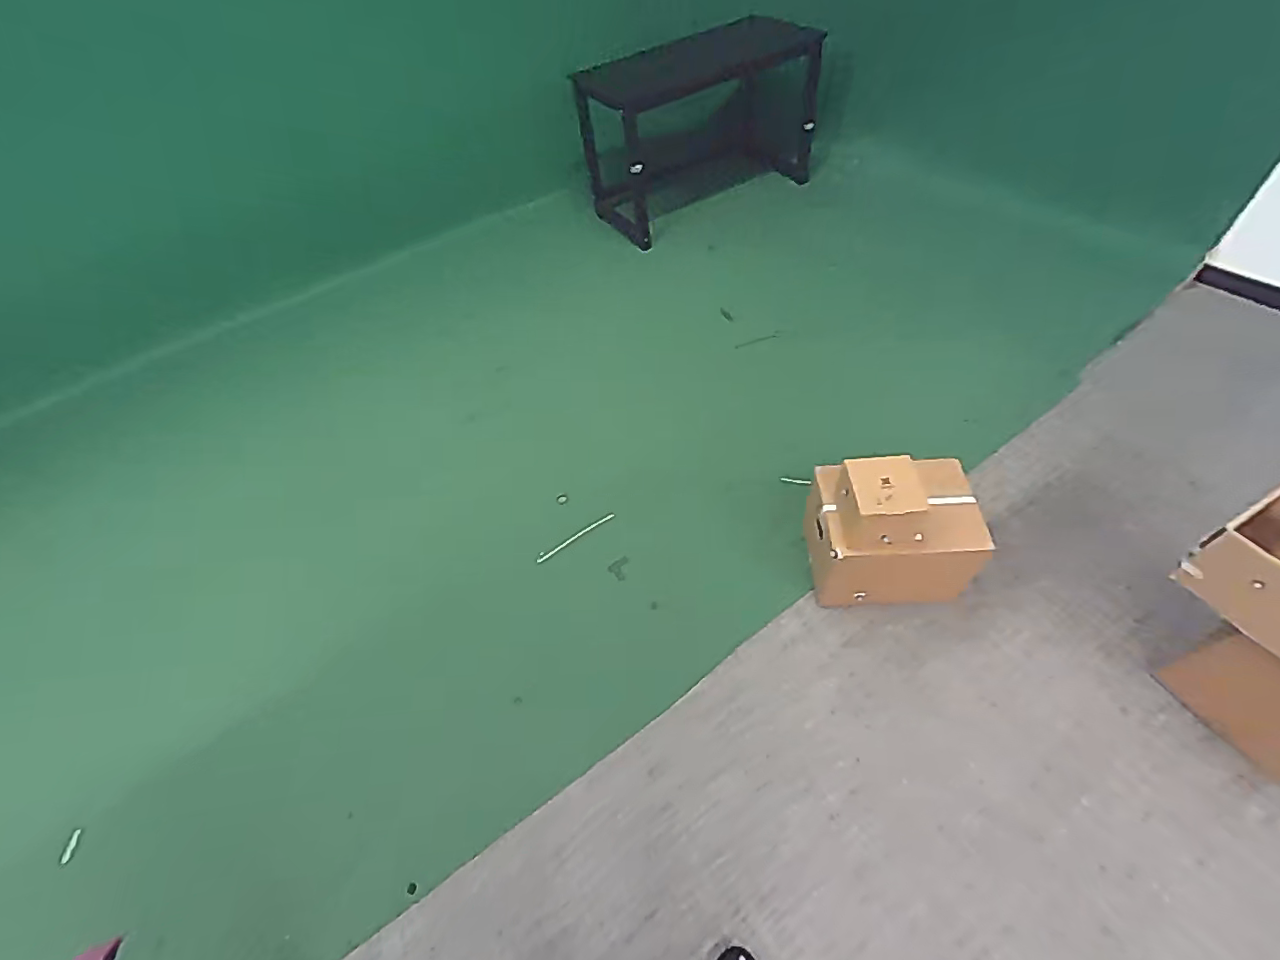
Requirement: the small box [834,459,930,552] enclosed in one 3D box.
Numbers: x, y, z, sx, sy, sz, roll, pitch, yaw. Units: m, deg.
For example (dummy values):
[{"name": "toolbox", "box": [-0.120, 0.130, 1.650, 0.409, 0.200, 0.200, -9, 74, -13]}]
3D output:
[{"name": "small box", "box": [0.616, 0.067, 1.401, 0.168, 0.176, 0.179, -4, 53, 4]}]
